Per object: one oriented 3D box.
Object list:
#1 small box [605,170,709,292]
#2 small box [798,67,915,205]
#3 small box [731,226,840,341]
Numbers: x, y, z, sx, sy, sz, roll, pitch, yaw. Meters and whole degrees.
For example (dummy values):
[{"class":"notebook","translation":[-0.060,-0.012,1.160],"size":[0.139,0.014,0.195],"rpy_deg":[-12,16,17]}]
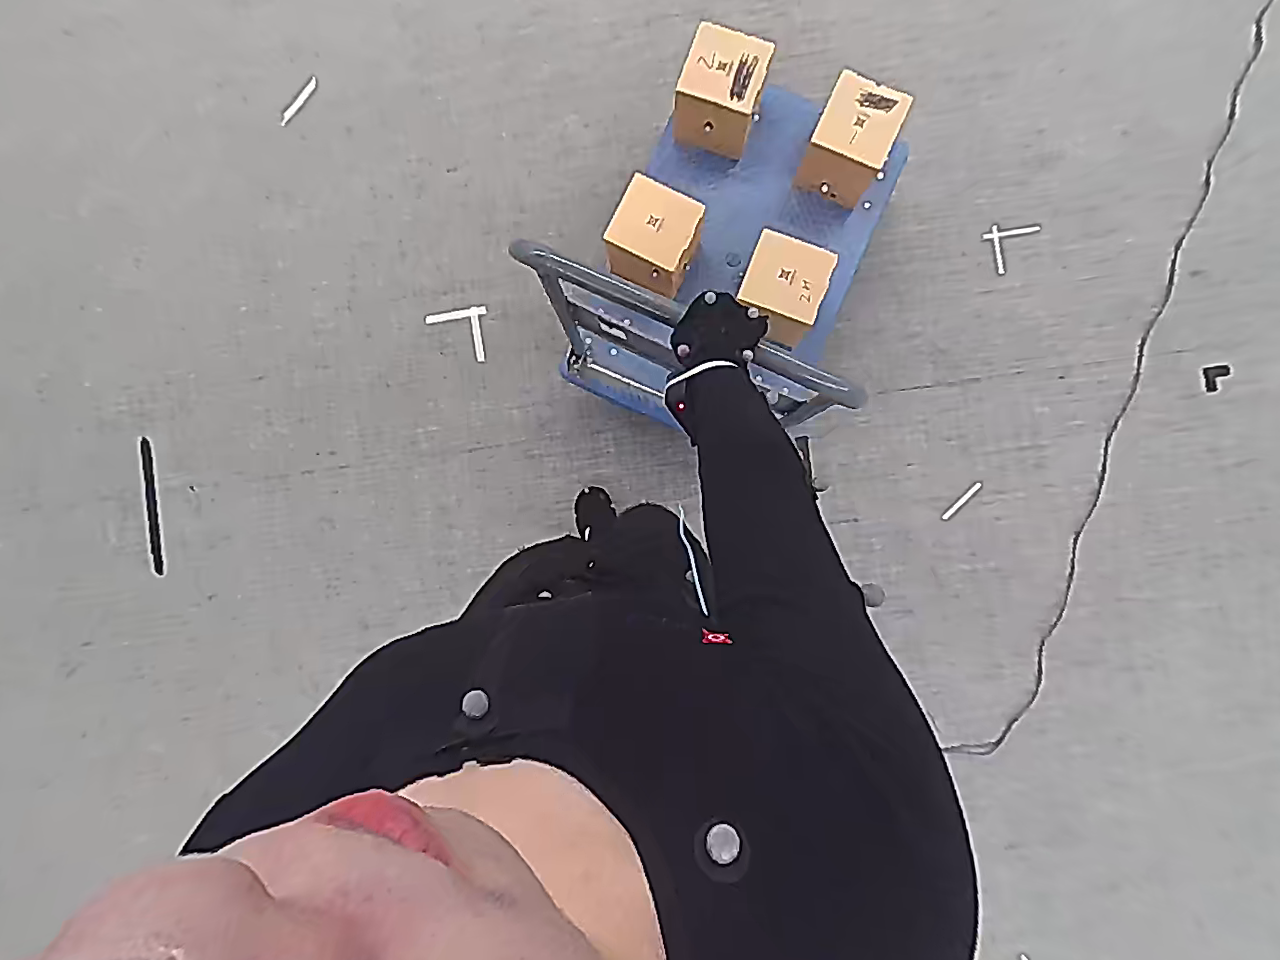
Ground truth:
[{"class":"small box","translation":[0.037,-0.561,1.247],"size":[0.179,0.176,0.168],"rpy_deg":[27,89,1]},{"class":"small box","translation":[0.483,-0.776,1.237],"size":[0.168,0.176,0.179],"rpy_deg":[25,91,3]},{"class":"small box","translation":[0.321,-0.438,1.233],"size":[0.179,0.176,0.168],"rpy_deg":[22,89,3]}]
